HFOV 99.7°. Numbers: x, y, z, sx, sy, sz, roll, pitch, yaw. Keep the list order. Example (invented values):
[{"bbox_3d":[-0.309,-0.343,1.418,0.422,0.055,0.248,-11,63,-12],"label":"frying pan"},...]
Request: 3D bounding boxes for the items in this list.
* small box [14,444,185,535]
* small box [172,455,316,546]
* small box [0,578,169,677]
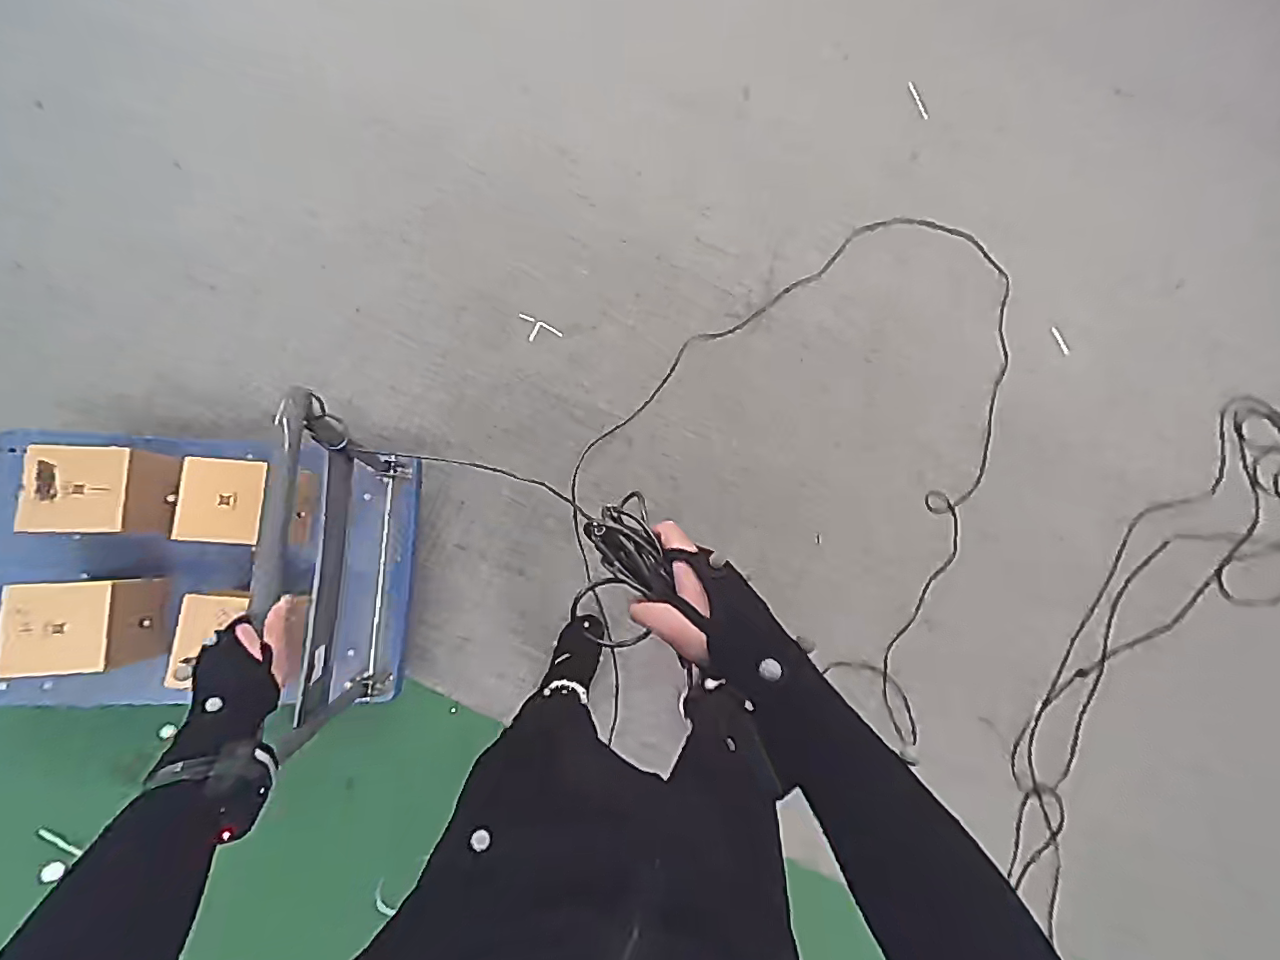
[{"bbox_3d":[-1.077,0.026,1.094,0.179,0.176,0.168,2,83,-10],"label":"small box"},{"bbox_3d":[-0.819,0.050,1.134,0.179,0.176,0.168,5,82,-9],"label":"small box"},{"bbox_3d":[-1.076,0.281,1.060,0.179,0.176,0.168,-1,82,-9],"label":"small box"}]
